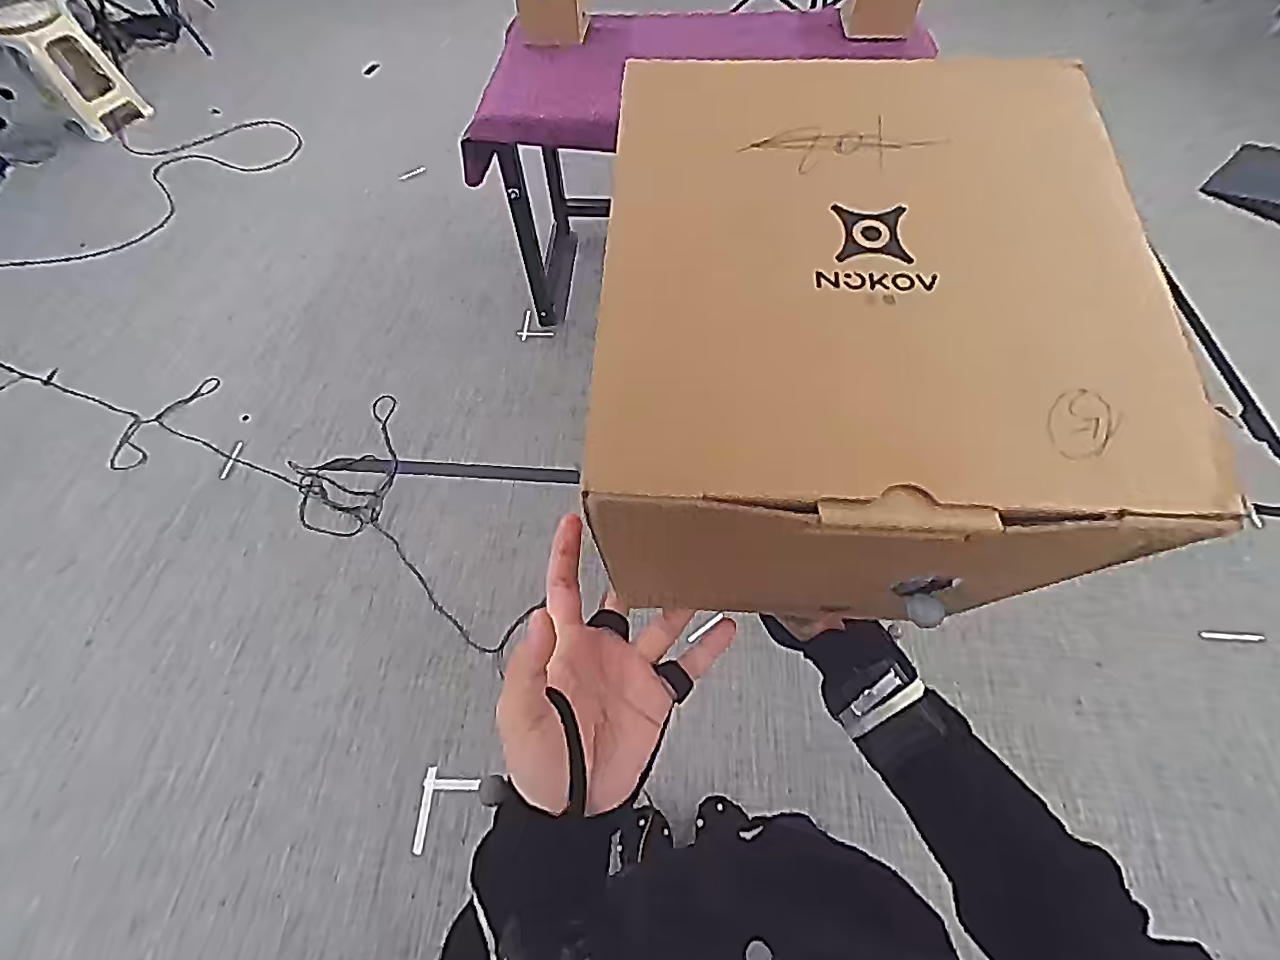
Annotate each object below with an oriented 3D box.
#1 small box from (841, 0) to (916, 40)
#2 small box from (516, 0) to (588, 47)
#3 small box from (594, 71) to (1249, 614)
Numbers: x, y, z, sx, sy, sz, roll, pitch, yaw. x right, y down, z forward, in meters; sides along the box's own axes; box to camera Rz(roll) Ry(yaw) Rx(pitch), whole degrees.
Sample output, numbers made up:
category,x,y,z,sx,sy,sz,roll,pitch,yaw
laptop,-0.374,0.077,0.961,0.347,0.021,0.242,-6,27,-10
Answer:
category,x,y,z,sx,sy,sz,roll,pitch,yaw
small box,0.668,-1.358,1.502,0.179,0.176,0.168,3,61,3
small box,-0.254,-1.374,1.545,0.179,0.176,0.168,5,62,3
small box,0.076,-0.040,0.242,0.168,0.176,0.179,2,67,2
